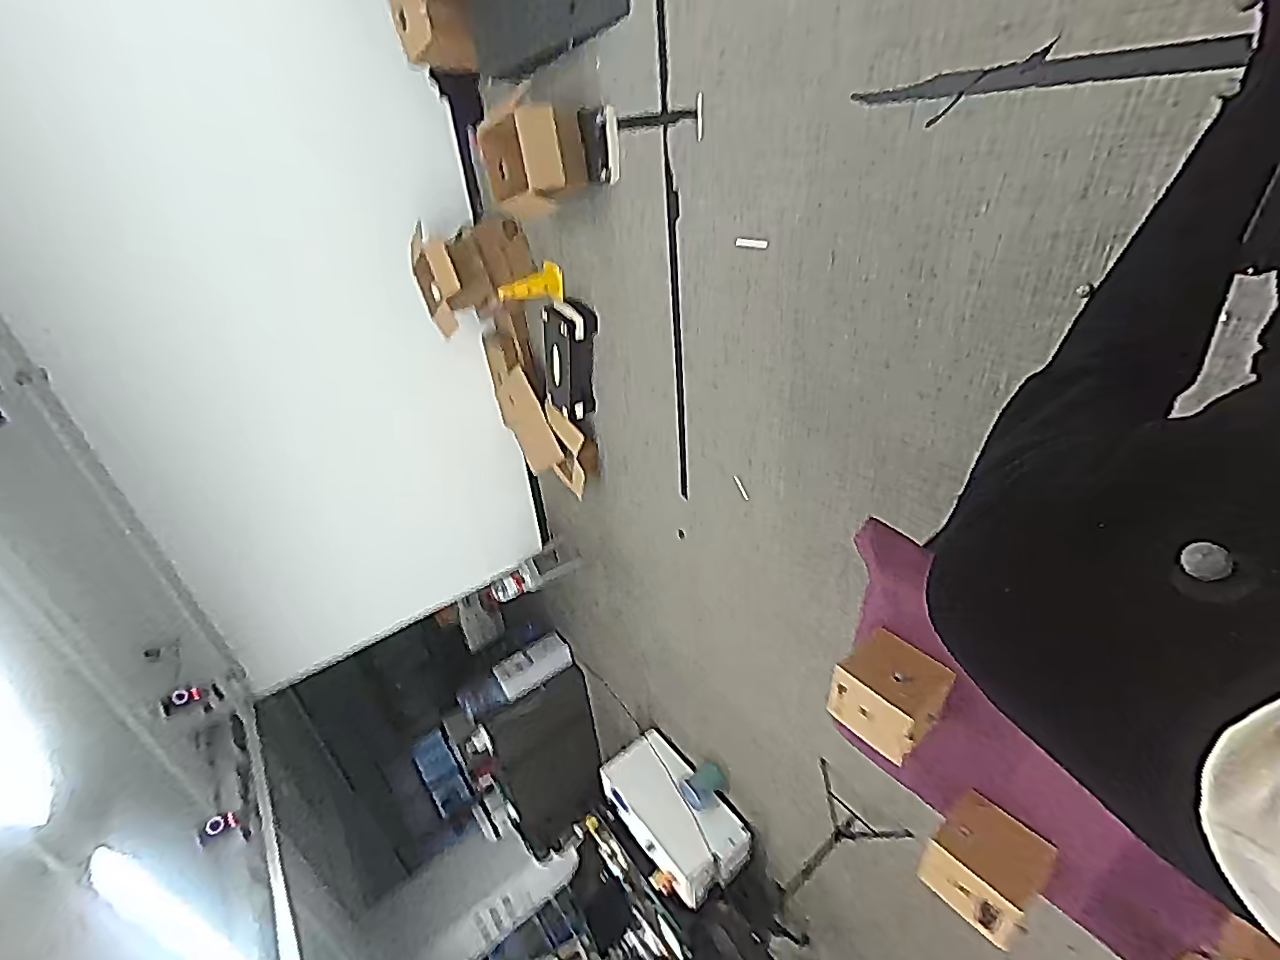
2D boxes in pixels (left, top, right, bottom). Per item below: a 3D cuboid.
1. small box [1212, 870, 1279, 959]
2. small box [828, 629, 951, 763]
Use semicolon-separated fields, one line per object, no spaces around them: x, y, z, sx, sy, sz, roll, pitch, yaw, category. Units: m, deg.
0.936;0.706;0.749;0.168;0.176;0.179;26;133;47;small box
0.544;0.461;1.181;0.179;0.176;0.168;31;137;42;small box
